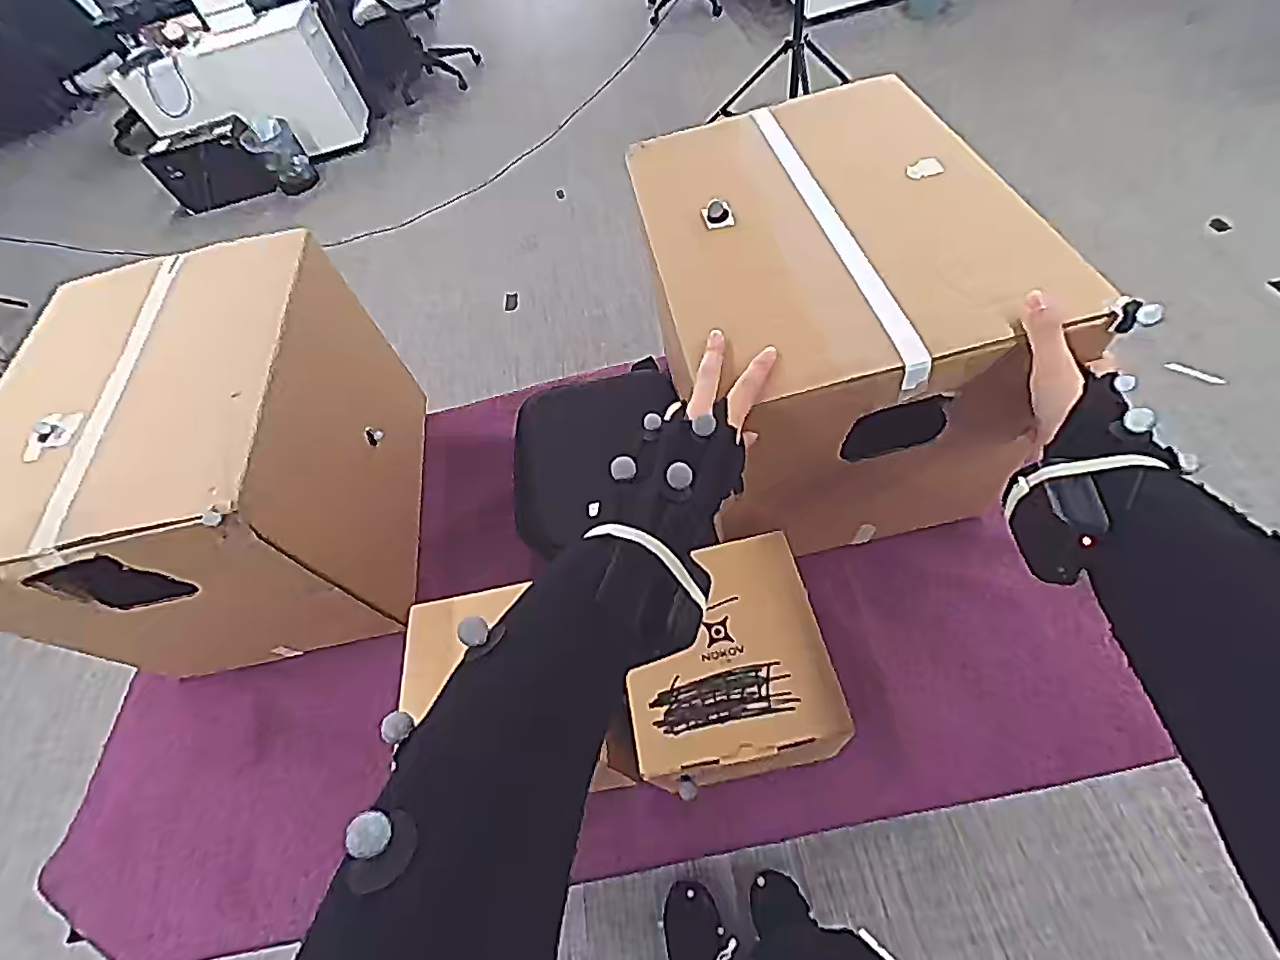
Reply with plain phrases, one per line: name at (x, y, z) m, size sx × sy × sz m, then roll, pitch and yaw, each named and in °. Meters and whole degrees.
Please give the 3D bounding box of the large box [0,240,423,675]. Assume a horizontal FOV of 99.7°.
large box at (-0.487, -0.018, 0.676) m, size 0.320 × 0.320 × 0.408 m, roll -14°, pitch 59°, yaw 1°
